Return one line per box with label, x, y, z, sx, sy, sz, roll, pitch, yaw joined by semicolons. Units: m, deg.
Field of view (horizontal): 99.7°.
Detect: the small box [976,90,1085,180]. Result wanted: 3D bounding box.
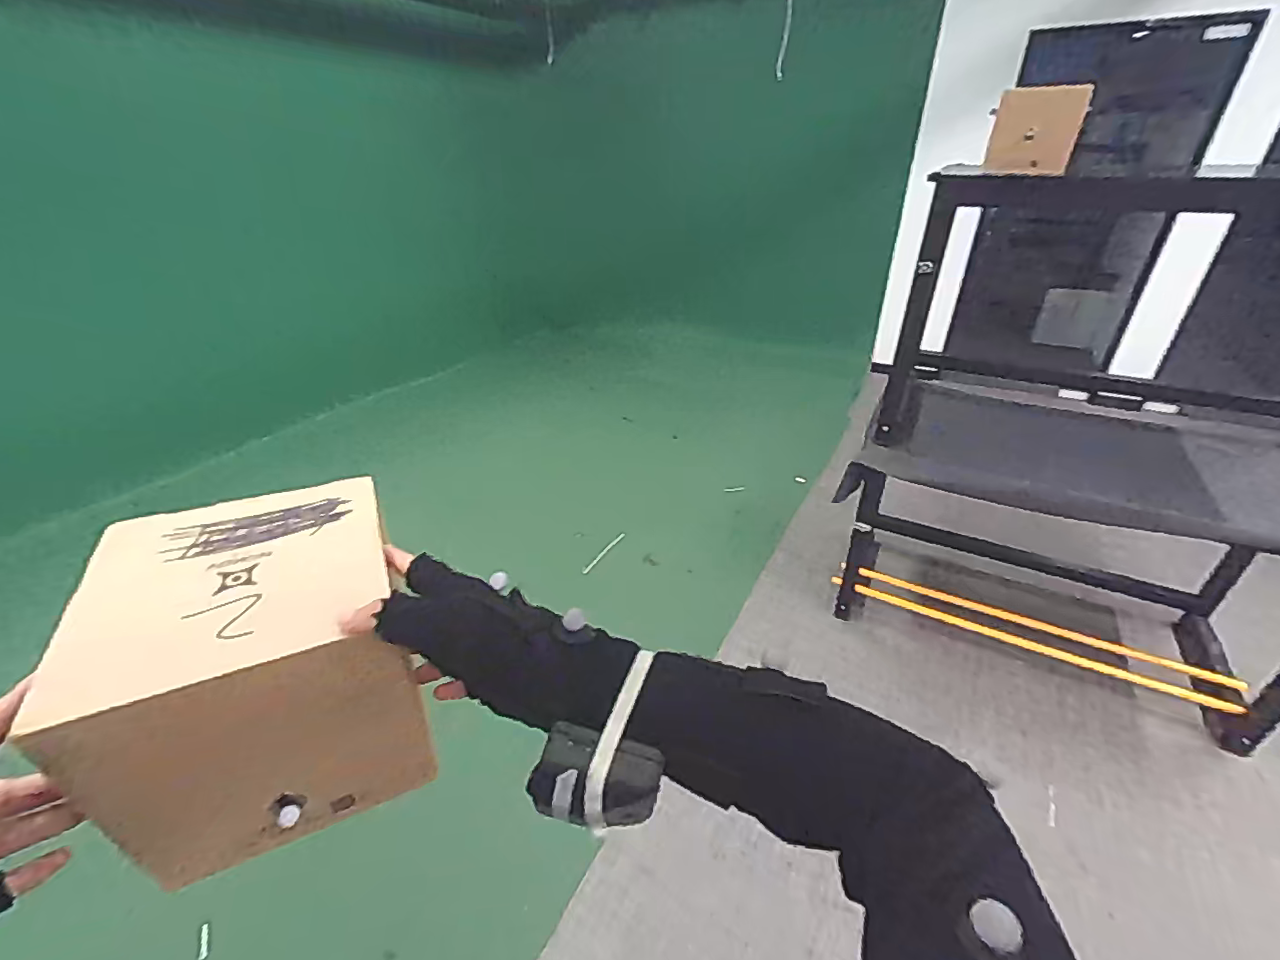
small box;0.915;-0.811;1.281;0.168;0.176;0.179;16;35;25
